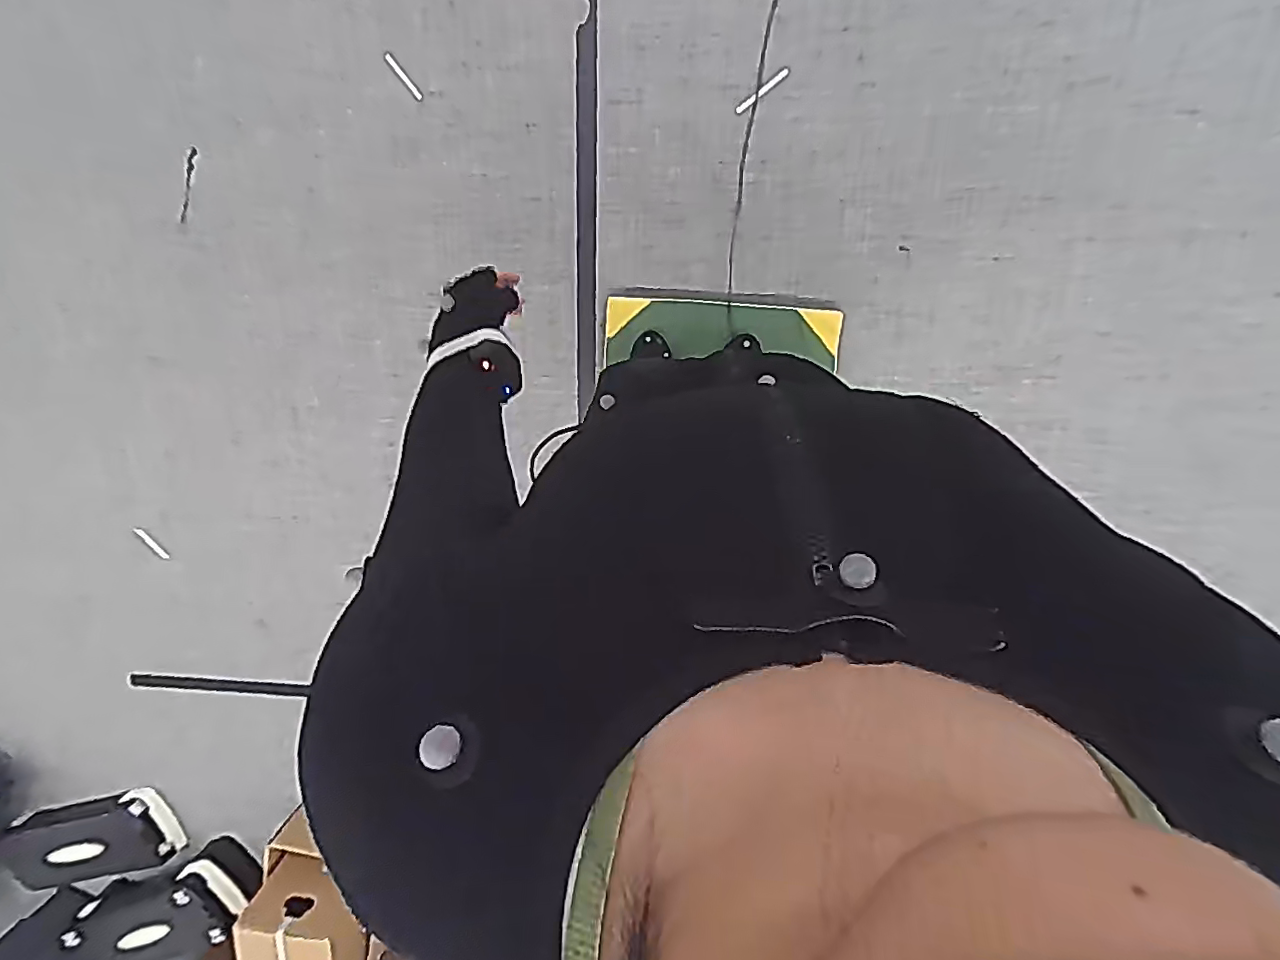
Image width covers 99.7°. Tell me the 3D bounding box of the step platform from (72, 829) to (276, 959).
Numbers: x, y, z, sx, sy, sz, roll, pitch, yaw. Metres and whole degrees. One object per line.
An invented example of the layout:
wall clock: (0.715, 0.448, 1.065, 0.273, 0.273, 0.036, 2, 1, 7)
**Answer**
step platform: (-1.771, 1.596, 2.056, 0.684, 0.204, 0.286, -26, 103, 10)
